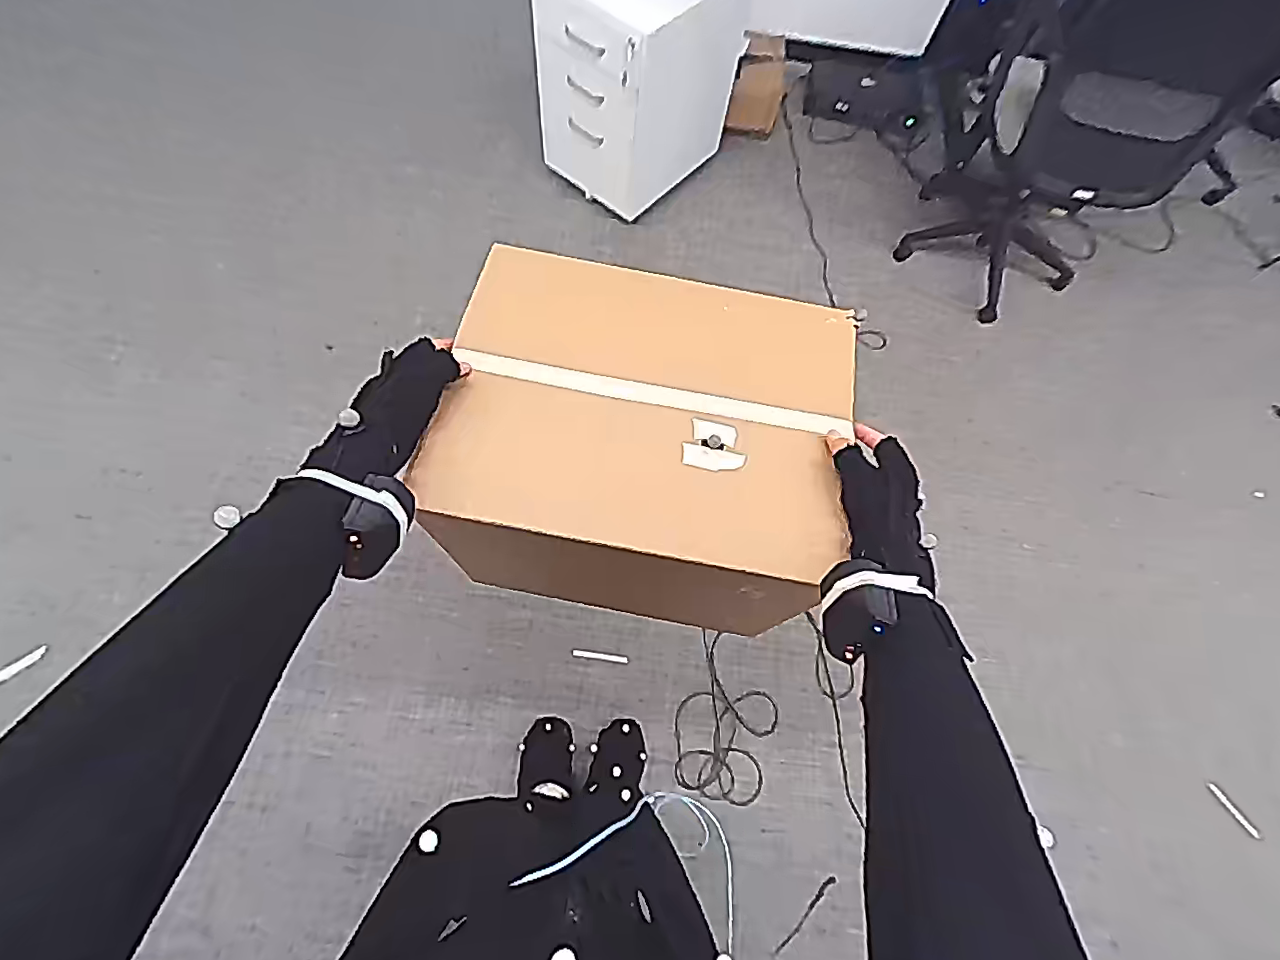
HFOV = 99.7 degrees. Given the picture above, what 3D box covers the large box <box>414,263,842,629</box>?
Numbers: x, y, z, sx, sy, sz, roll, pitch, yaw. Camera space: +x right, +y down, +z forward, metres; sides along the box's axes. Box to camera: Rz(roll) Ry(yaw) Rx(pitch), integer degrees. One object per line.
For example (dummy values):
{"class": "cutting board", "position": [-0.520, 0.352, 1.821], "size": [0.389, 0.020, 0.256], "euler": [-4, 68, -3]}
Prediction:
{"class": "large box", "position": [-0.004, -0.017, 0.688], "size": [0.408, 0.320, 0.320], "euler": [11, 67, -1]}
